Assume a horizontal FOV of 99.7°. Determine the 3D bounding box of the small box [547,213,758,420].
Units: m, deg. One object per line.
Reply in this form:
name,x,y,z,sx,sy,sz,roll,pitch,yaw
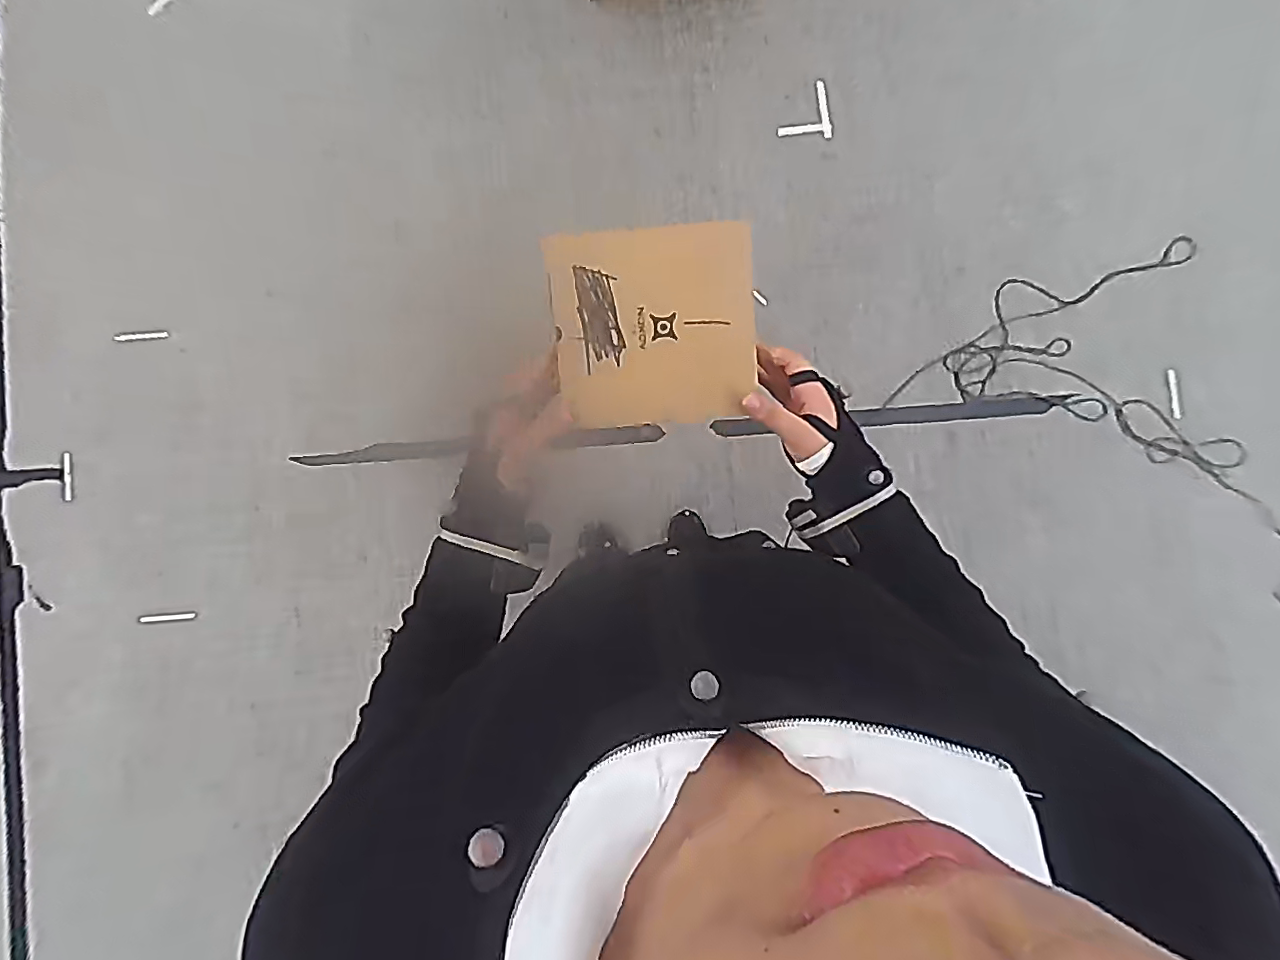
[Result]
small box,0.014,-0.147,0.543,0.179,0.176,0.168,-4,97,1
